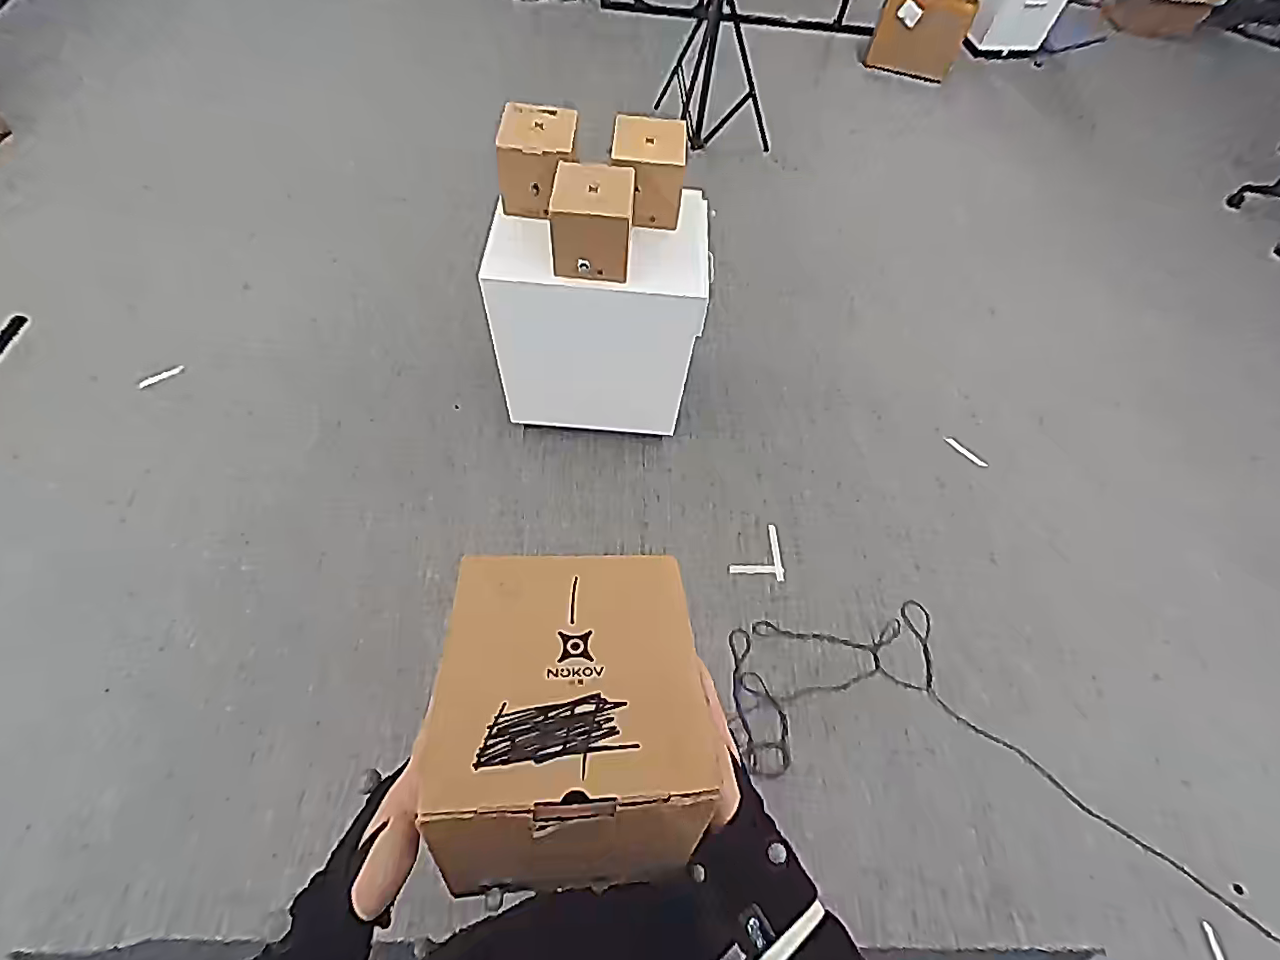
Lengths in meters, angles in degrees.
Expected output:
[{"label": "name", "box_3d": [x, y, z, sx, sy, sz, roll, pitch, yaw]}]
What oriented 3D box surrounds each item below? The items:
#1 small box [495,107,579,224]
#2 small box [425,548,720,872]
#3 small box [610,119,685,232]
[{"label": "small box", "box_3d": [-0.234, -0.736, 1.276, 0.168, 0.176, 0.179, 5, 62, -4]}, {"label": "small box", "box_3d": [-0.048, 0.172, 0.408, 0.168, 0.176, 0.179, 1, 40, -8]}, {"label": "small box", "box_3d": [0.016, -0.722, 1.291, 0.168, 0.176, 0.179, 4, 61, -2]}]
